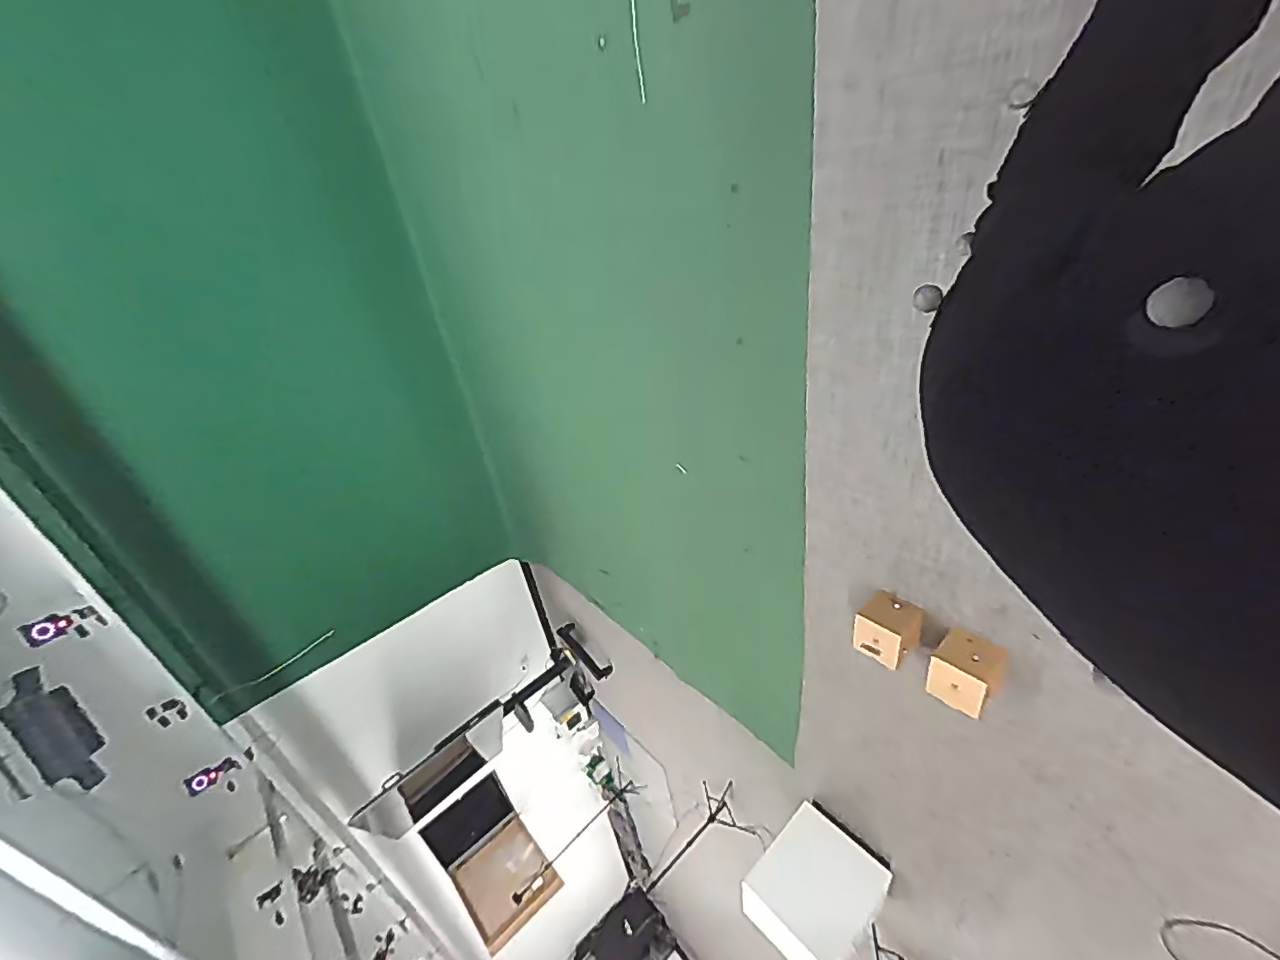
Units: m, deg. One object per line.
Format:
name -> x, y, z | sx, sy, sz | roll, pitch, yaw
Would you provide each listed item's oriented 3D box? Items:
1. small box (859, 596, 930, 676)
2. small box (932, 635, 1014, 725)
small box -> 0.905, 0.549, 1.924 | 0.168, 0.176, 0.179 | 26, 134, 44
small box -> 1.076, 0.637, 1.744 | 0.168, 0.176, 0.179 | 25, 135, 45
